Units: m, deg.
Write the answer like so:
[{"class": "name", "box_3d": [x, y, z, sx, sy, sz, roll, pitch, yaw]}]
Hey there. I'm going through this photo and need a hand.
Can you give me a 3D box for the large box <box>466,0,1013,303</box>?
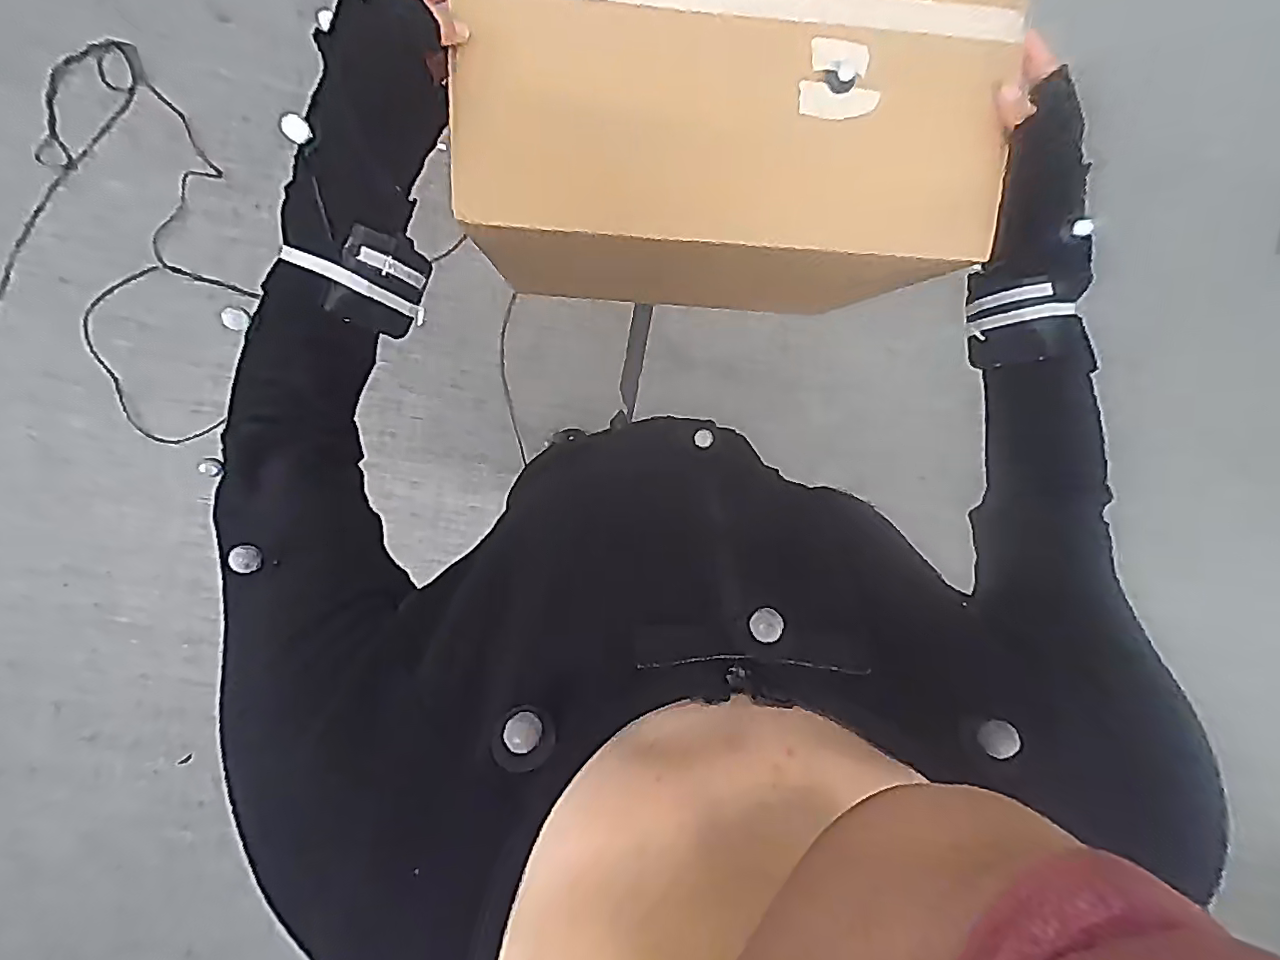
[{"class": "large box", "box_3d": [0.062, -0.363, 0.531, 0.408, 0.320, 0.320, 1, 100, -6]}]
